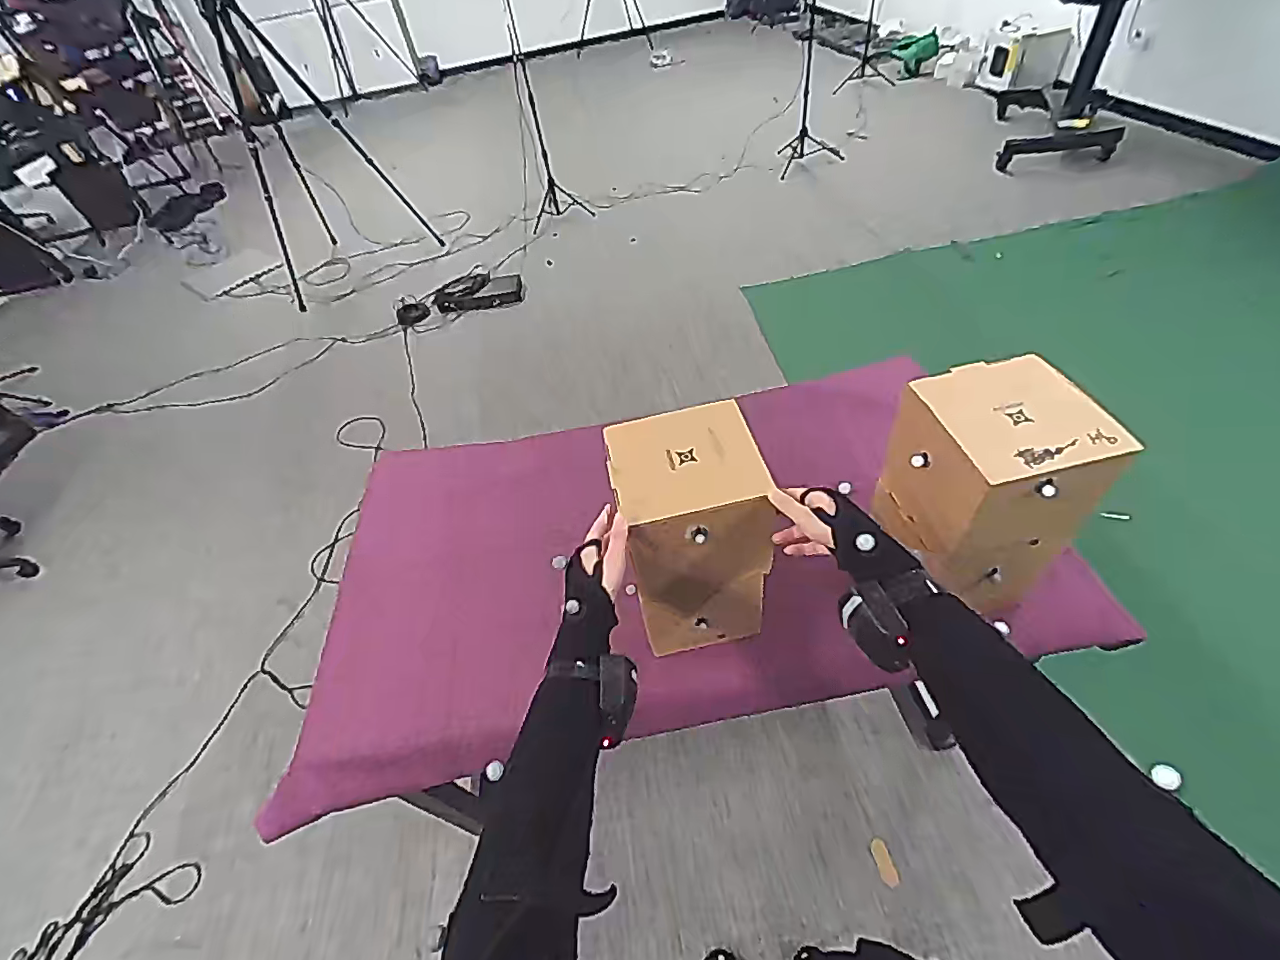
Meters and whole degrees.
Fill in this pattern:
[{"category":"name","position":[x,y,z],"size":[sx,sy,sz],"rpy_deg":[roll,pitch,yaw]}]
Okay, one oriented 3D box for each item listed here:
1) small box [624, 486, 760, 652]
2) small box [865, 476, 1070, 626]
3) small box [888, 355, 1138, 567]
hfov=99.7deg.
[{"category":"small box","position":[0.080,0.142,0.819],"size":[0.168,0.176,0.179],"rpy_deg":[-13,46,0]},{"category":"small box","position":[0.455,0.088,0.788],"size":[0.179,0.176,0.168],"rpy_deg":[-15,48,0]},{"category":"small box","position":[0.431,-0.022,0.668],"size":[0.168,0.176,0.179],"rpy_deg":[-15,47,1]}]
